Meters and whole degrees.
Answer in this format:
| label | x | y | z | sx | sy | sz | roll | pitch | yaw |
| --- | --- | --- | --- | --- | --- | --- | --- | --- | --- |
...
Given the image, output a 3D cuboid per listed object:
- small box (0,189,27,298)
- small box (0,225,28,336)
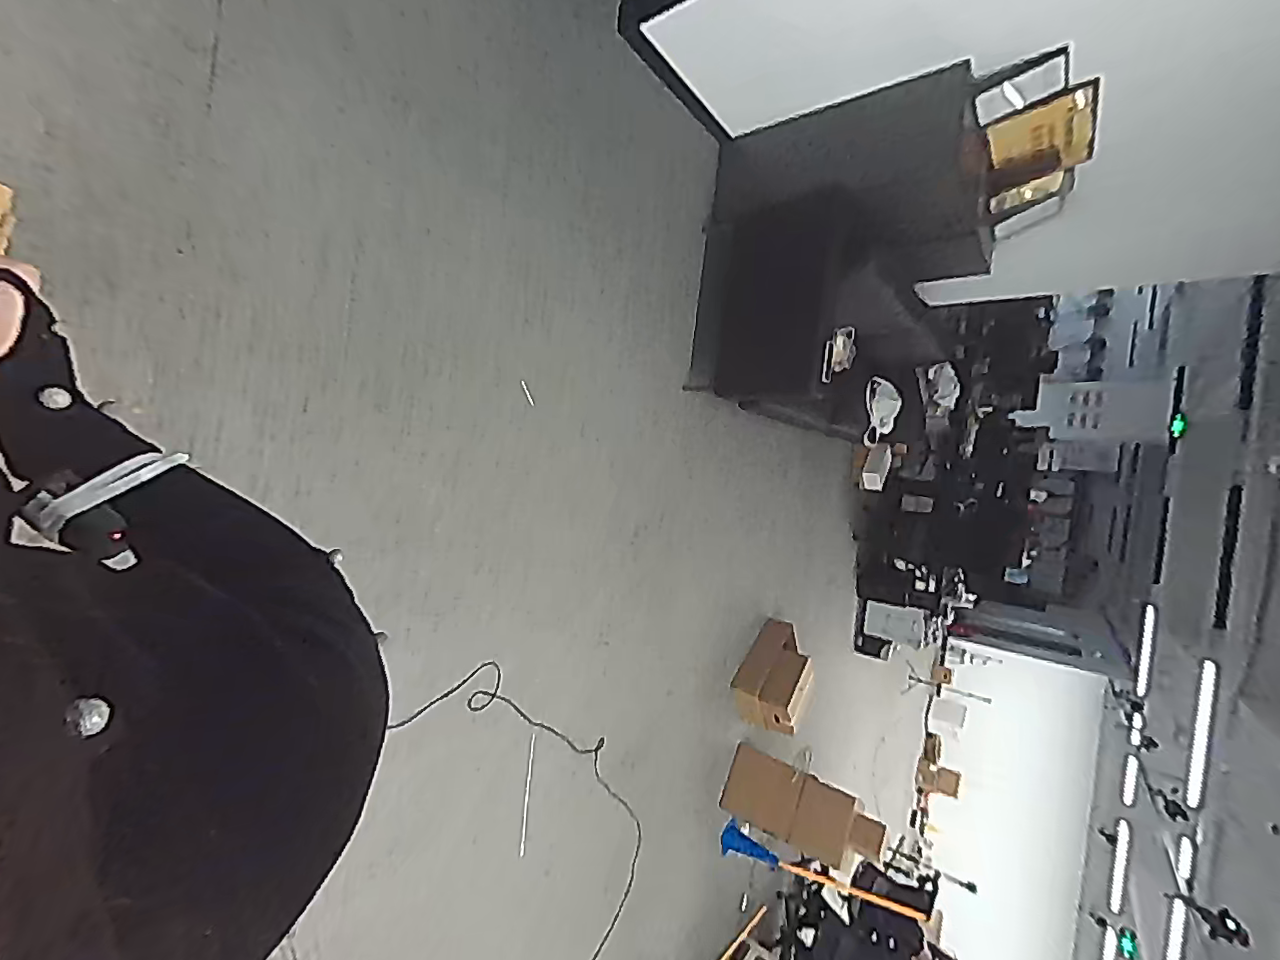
| label | x | y | z | sx | sy | sz | roll | pitch | yaw |
| --- | --- | --- | --- | --- | --- | --- | --- | --- | --- |
| small box | -0.893 | -0.292 | 0.649 | 0.179 | 0.176 | 0.168 | 16 | 82 | -52 |
| small box | -1.011 | -0.305 | 0.761 | 0.179 | 0.176 | 0.168 | 11 | 87 | -51 |
